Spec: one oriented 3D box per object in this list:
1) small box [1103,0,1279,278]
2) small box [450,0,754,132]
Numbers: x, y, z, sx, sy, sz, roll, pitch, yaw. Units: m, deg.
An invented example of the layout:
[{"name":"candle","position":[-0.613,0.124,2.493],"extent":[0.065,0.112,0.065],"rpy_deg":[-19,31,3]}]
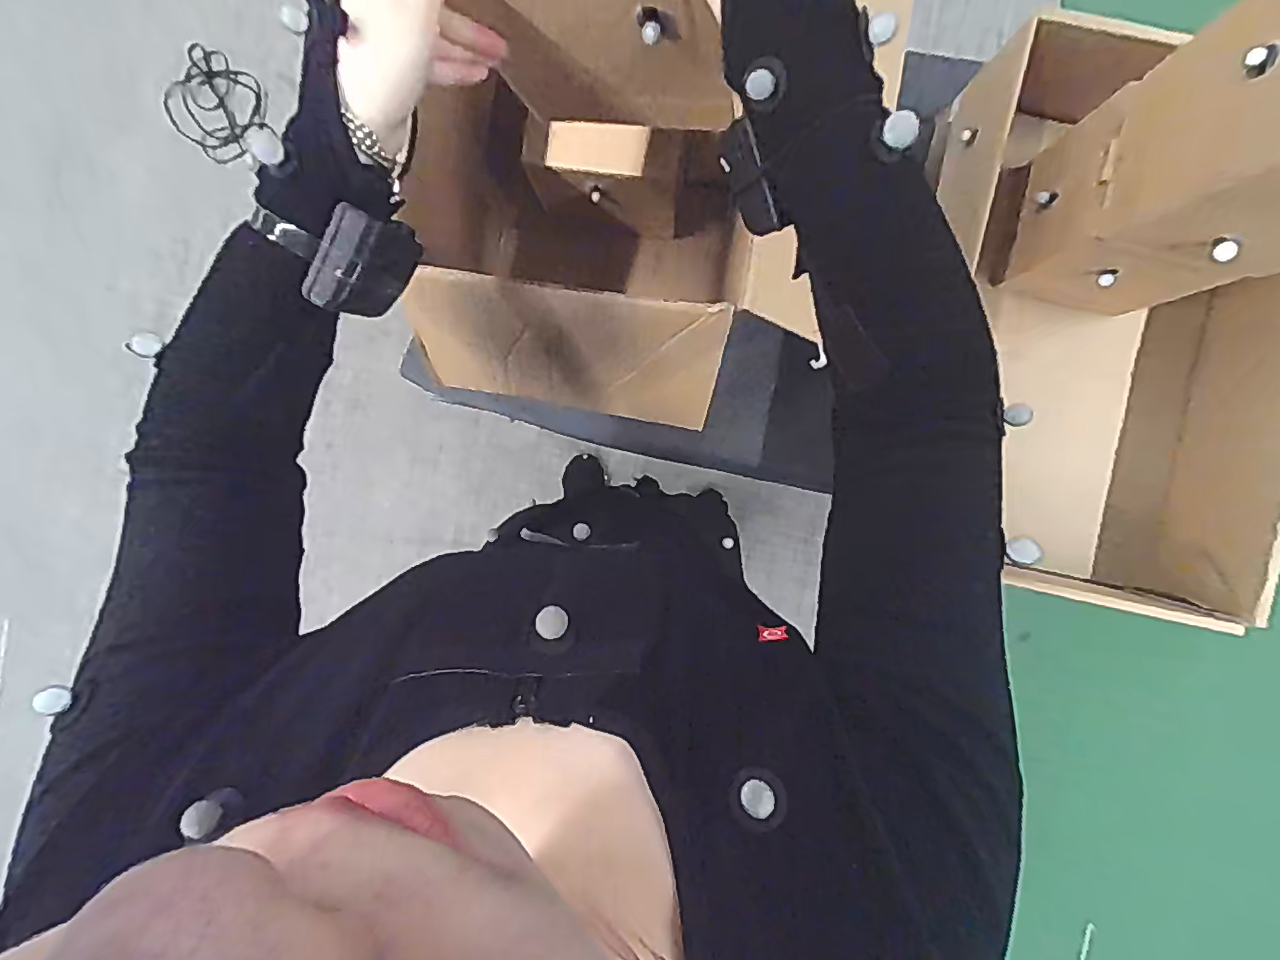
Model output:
[{"name":"small box","position":[0.566,-0.304,0.476],"extent":[0.168,0.176,0.179],"rpy_deg":[12,93,0]},{"name":"small box","position":[-0.015,-0.363,0.365],"extent":[0.179,0.176,0.168],"rpy_deg":[10,101,11]}]
